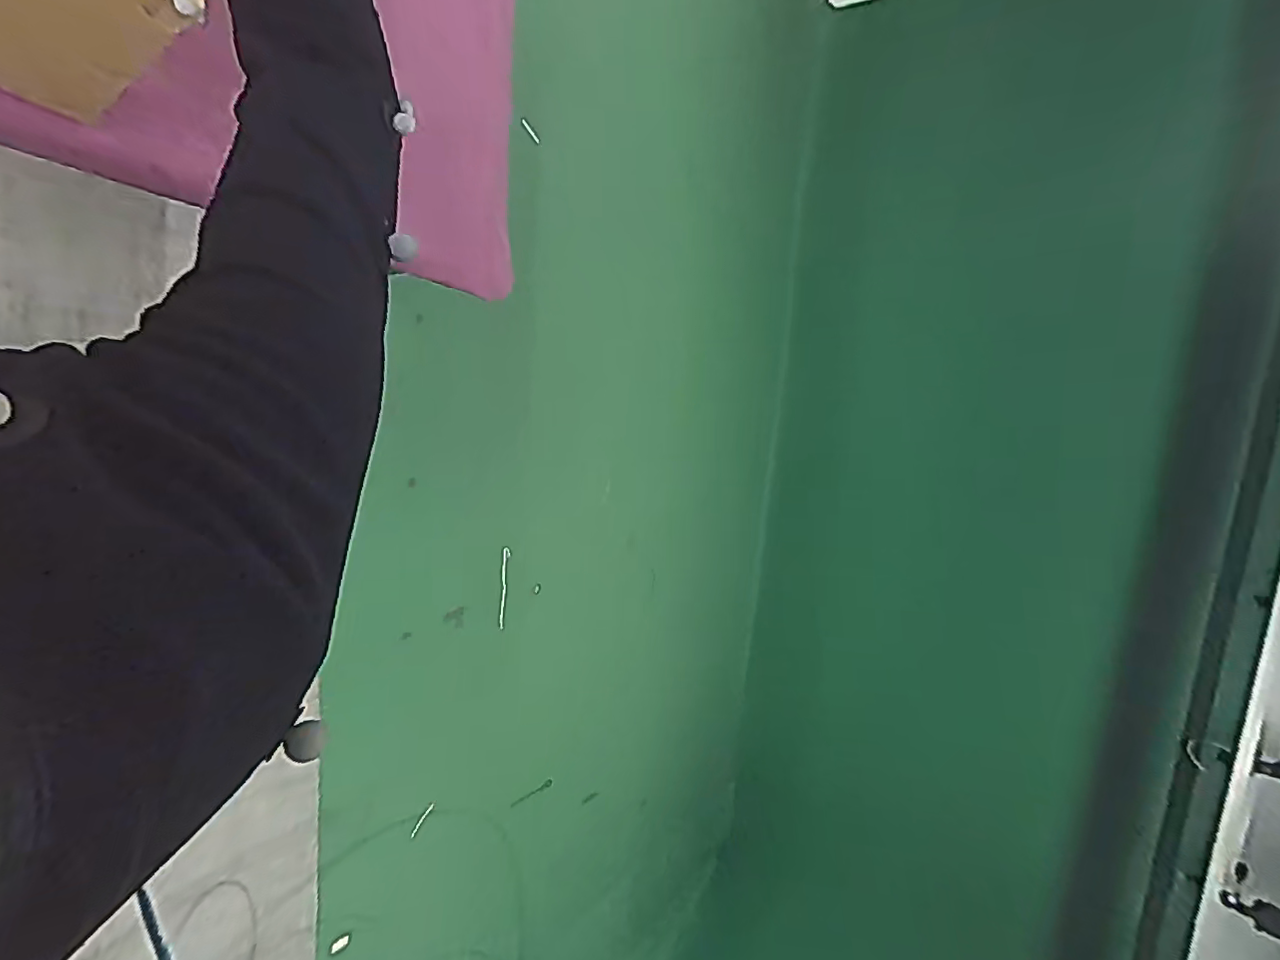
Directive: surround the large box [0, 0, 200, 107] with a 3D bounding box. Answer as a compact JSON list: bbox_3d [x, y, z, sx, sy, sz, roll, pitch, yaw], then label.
[{"bbox_3d":[-0.495,-0.542,0.317,0.320,0.320,0.408,0,98,-55],"label":"large box"}]
